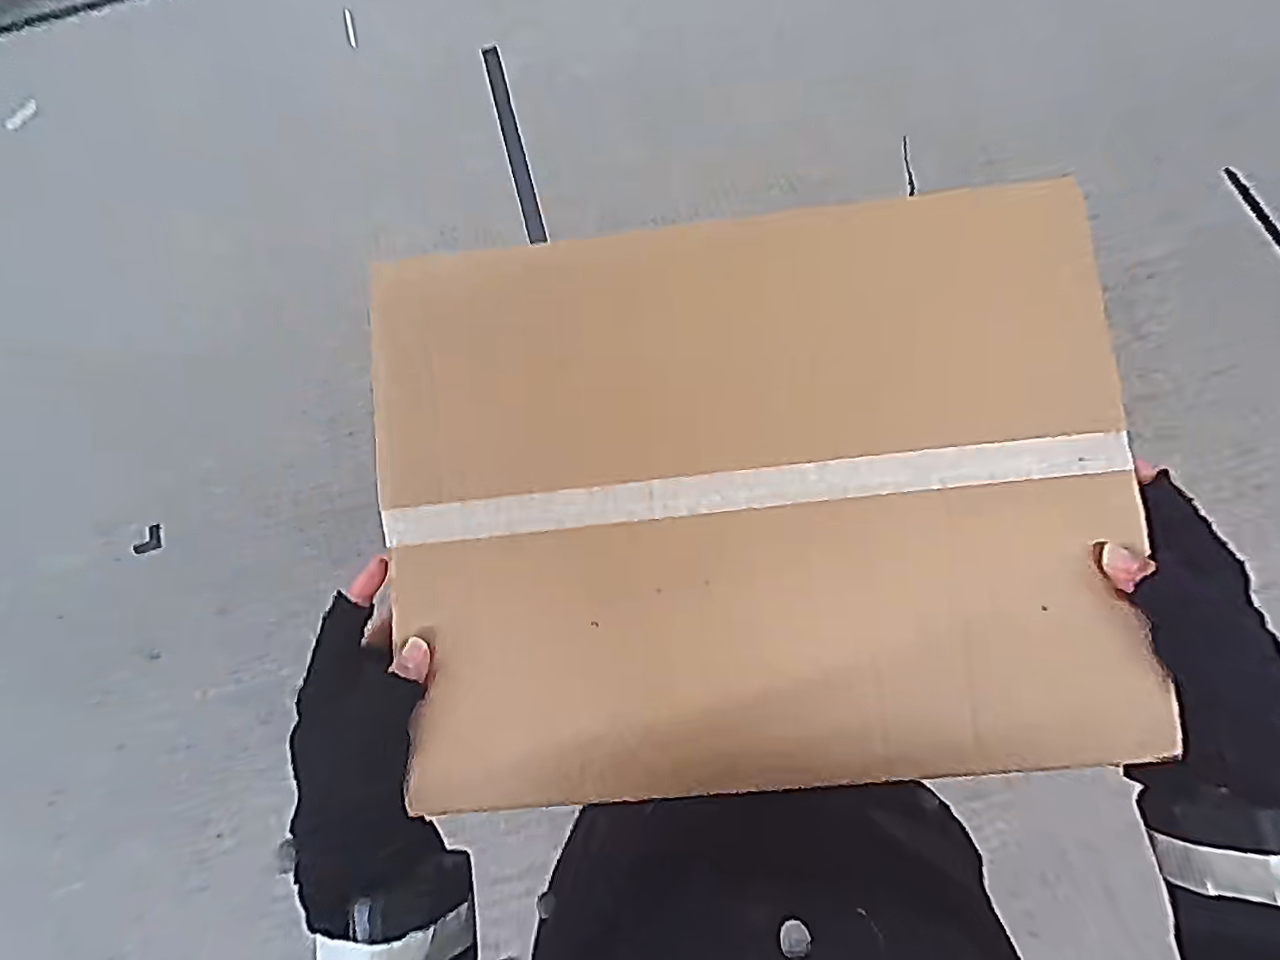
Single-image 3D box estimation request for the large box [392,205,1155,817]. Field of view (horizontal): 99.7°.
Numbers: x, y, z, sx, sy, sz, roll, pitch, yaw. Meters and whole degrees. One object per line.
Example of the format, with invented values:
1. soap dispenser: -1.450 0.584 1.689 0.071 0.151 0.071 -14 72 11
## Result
1. large box: 0.067 0.029 0.456 0.408 0.320 0.320 -7 85 3
